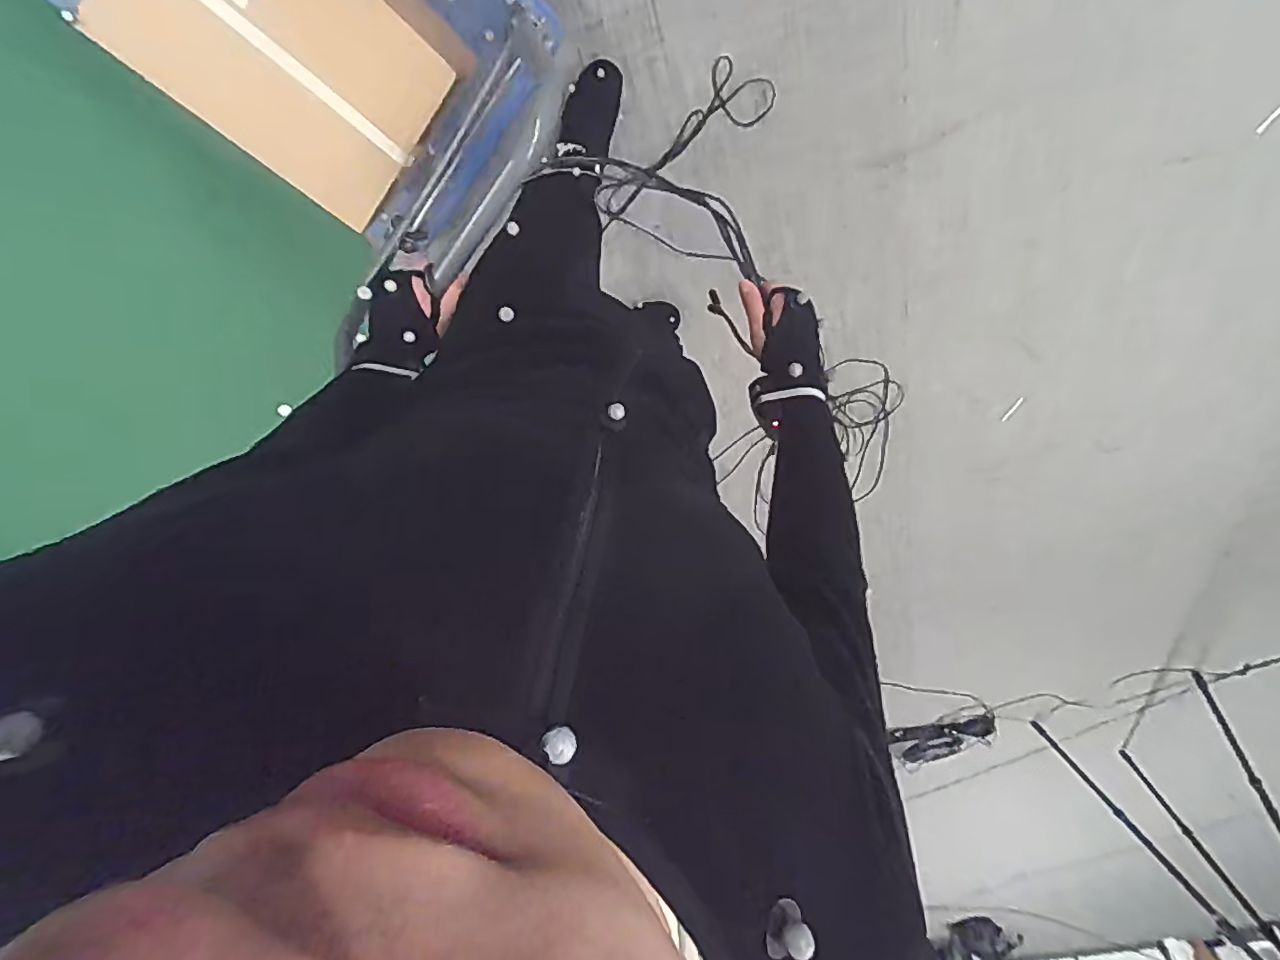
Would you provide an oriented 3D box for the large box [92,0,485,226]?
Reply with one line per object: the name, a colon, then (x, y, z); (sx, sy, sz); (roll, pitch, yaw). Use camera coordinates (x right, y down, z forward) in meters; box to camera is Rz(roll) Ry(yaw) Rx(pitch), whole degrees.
large box: (-0.527, -0.719, 0.895); (0.408, 0.320, 0.320); (35, 118, -30)
